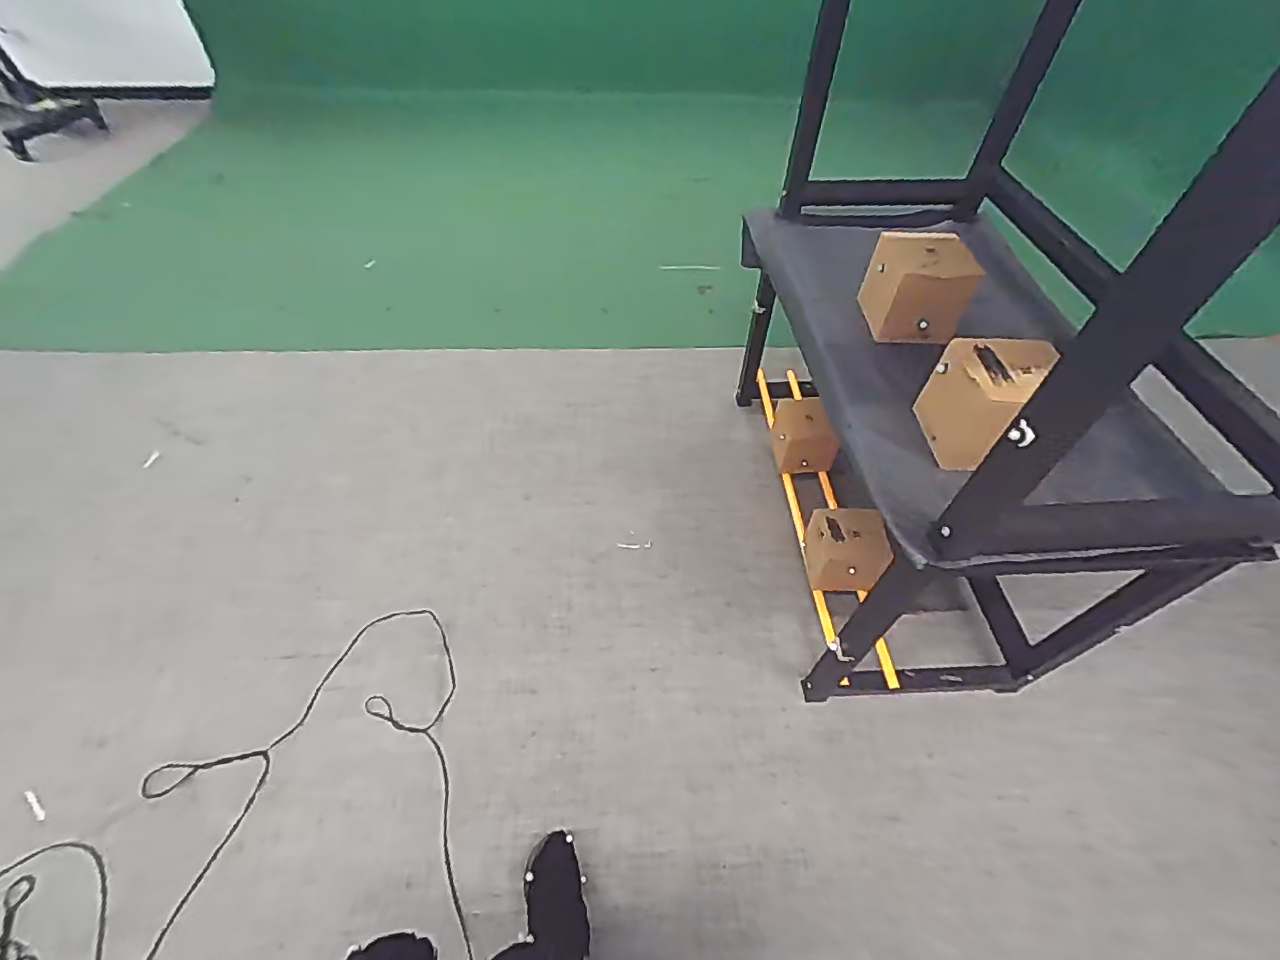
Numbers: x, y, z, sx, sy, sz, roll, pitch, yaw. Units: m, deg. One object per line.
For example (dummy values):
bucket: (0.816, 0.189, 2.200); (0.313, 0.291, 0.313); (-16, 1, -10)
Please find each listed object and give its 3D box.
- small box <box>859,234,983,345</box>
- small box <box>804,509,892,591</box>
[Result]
small box: (0.606, -0.421, 1.196); (0.168, 0.176, 0.179); (1, 51, 0)
small box: (0.564, 0.196, 1.497); (0.179, 0.176, 0.168); (1, 51, 0)
